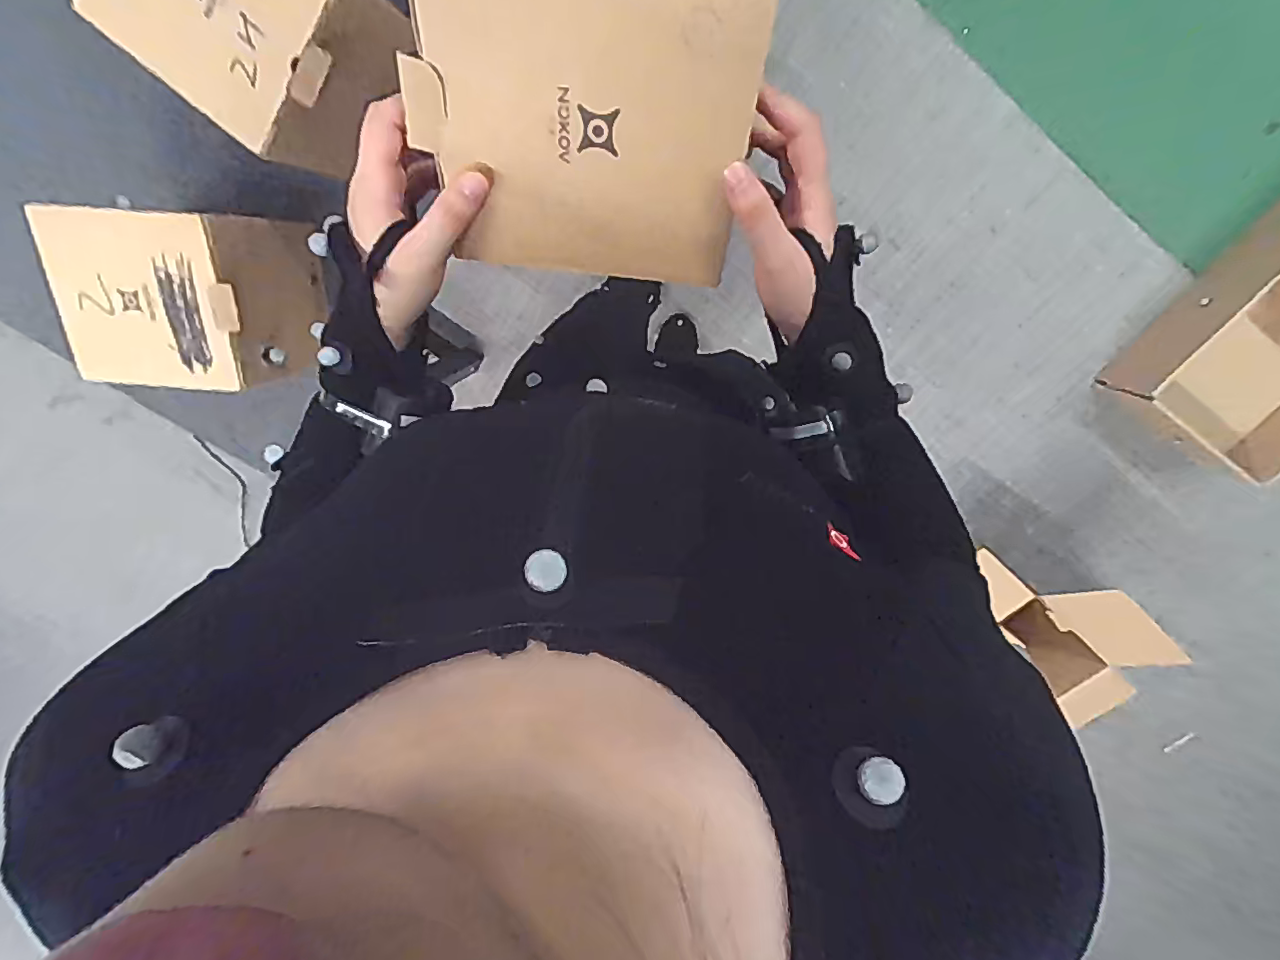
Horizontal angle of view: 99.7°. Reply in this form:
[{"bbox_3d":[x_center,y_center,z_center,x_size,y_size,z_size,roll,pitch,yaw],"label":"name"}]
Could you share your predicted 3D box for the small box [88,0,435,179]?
[{"bbox_3d":[-0.333,-0.416,0.509,0.179,0.176,0.168,38,110,-10],"label":"small box"}]
